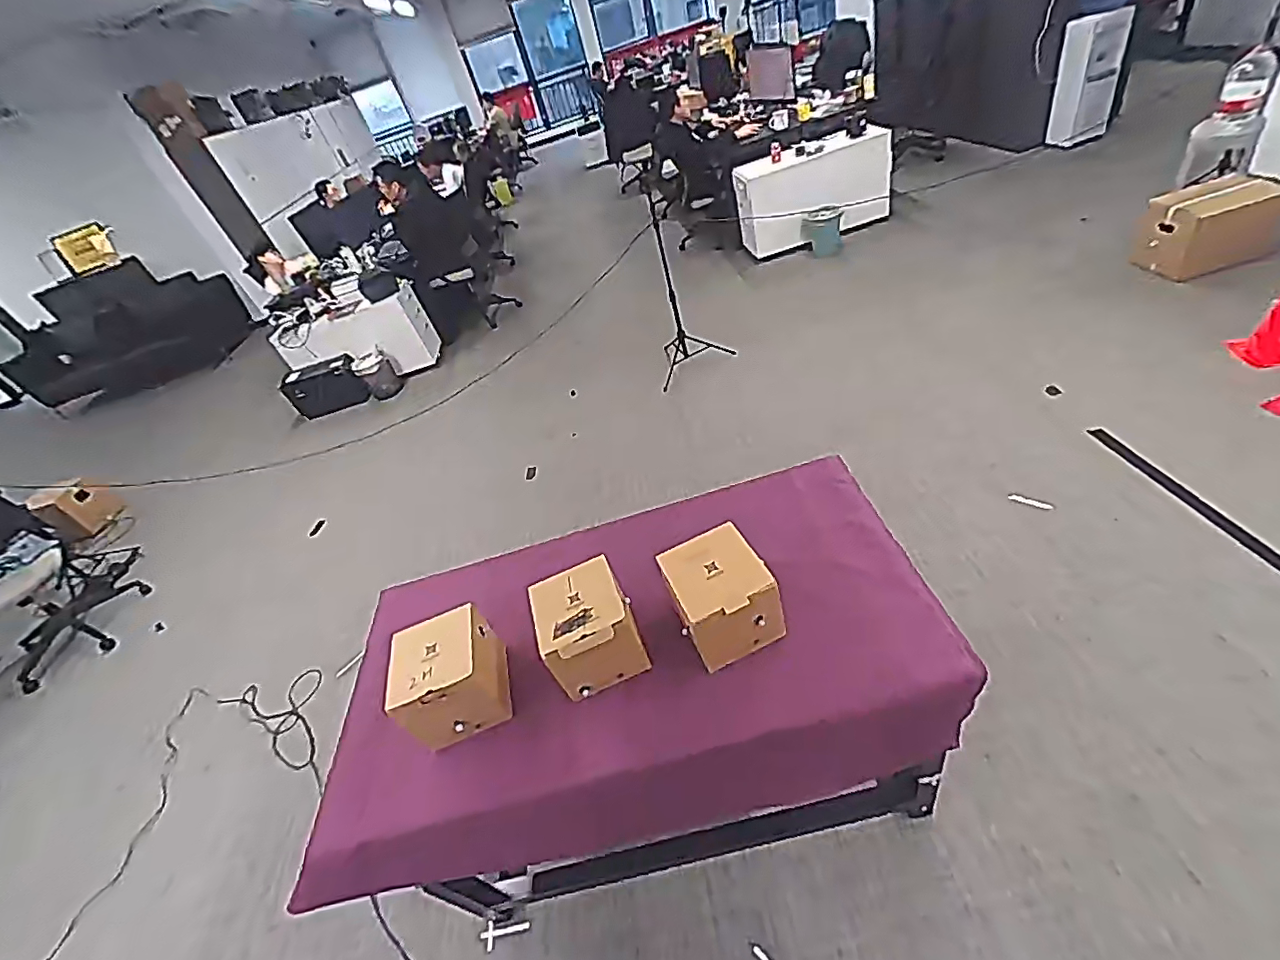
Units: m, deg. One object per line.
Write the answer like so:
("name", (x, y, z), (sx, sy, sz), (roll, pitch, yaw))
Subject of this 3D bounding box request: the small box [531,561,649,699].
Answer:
("small box", (-0.096, 0.299, 1.058), (0.168, 0.176, 0.179), (-23, 38, -4))

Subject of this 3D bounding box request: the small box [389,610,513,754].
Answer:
("small box", (-0.362, 0.395, 1.059), (0.168, 0.176, 0.179), (-23, 39, -2))

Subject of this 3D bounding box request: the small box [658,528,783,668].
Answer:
("small box", (0.156, 0.230, 1.032), (0.168, 0.176, 0.179), (-25, 38, -6))
